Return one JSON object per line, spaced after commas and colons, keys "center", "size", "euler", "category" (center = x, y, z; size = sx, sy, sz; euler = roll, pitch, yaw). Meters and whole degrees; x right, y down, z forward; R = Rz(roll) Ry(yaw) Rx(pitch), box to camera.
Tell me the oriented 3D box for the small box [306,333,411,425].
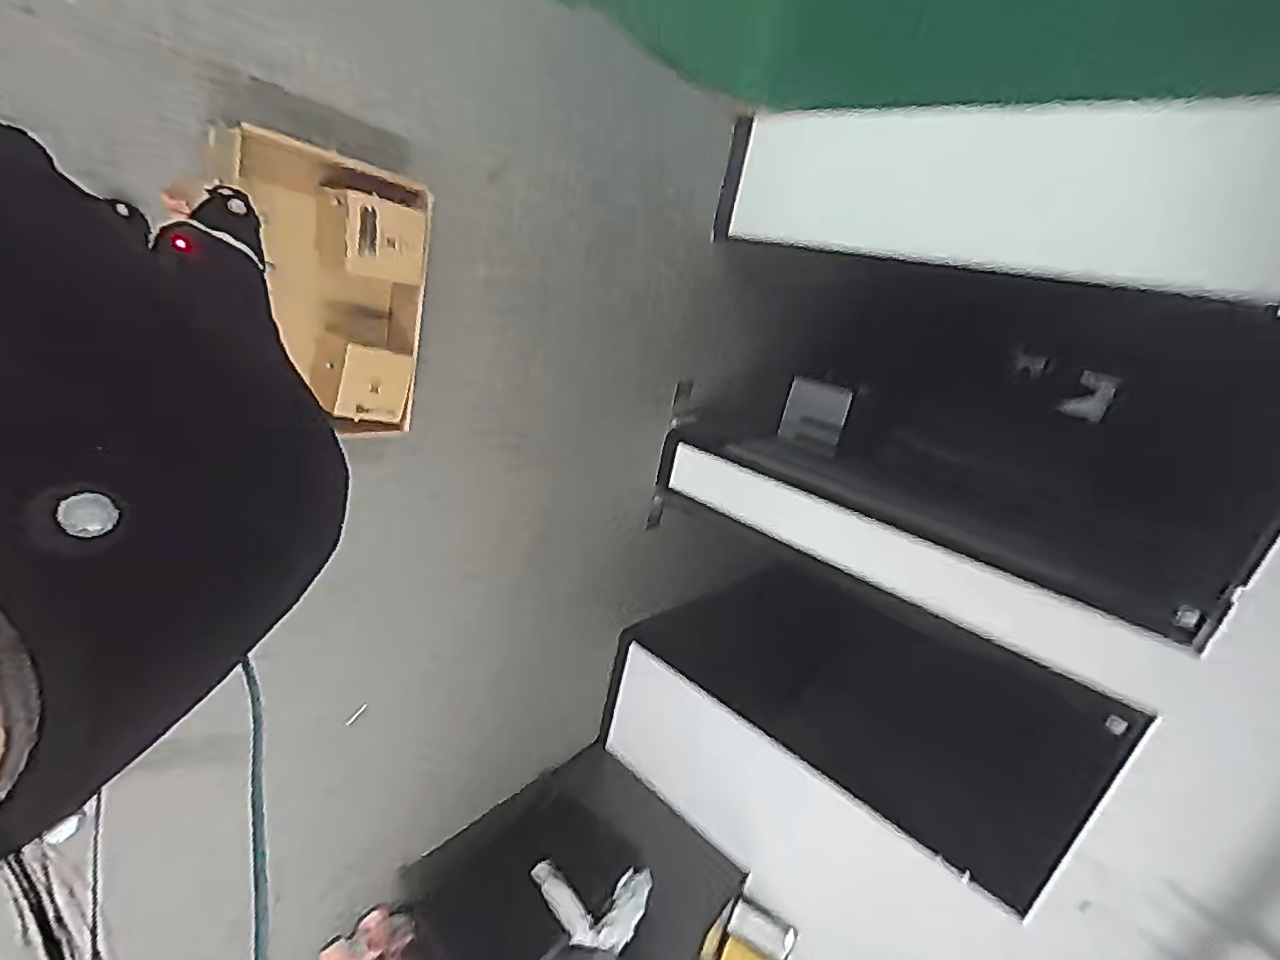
{"center": [-0.709, -0.254, 1.354], "size": [0.168, 0.176, 0.179], "euler": [5, 106, -53], "category": "small box"}
